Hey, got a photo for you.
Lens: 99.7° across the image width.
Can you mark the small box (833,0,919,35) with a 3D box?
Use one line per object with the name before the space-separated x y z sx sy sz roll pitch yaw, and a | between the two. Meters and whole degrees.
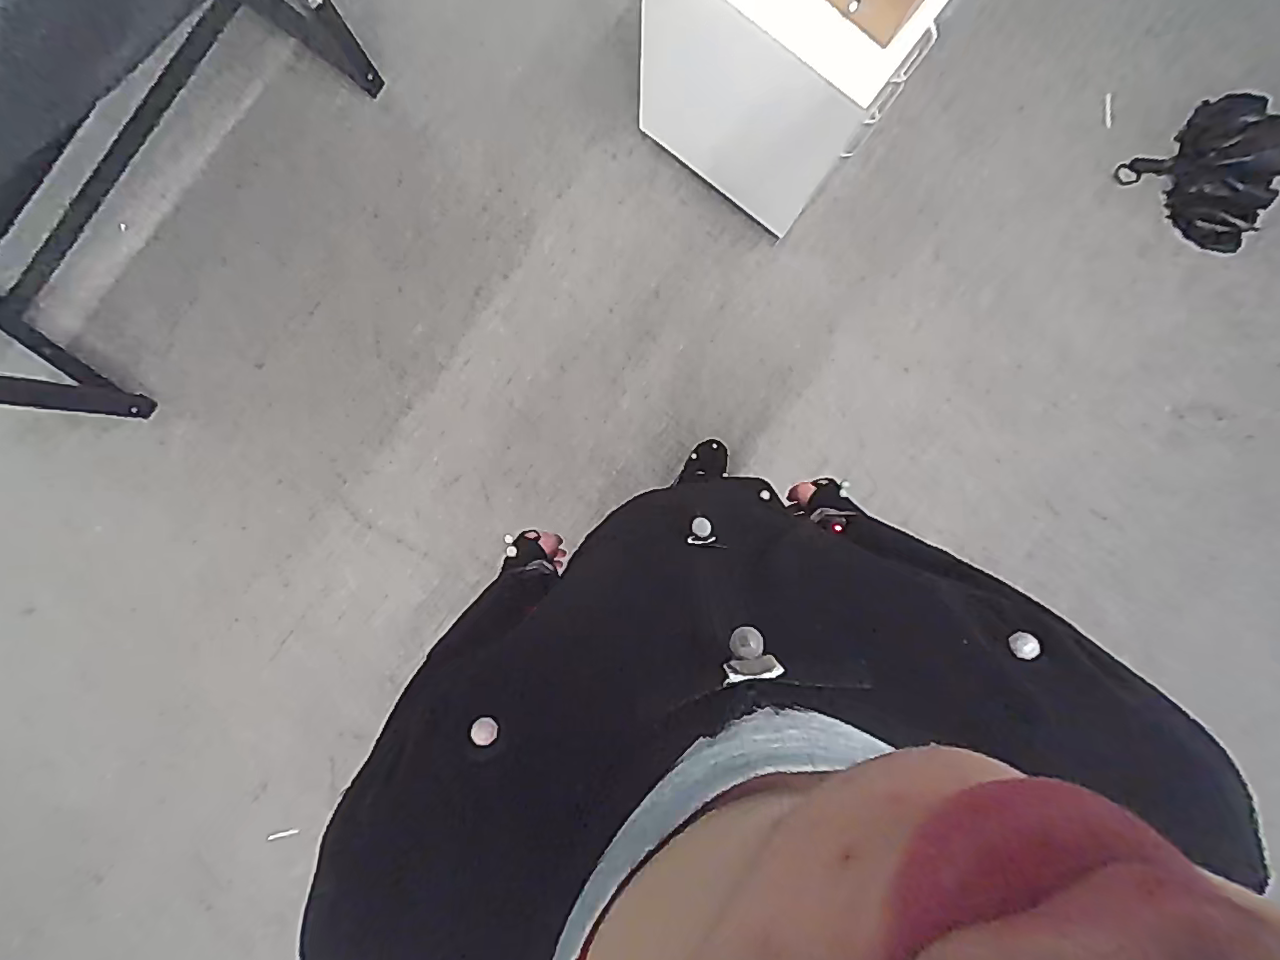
small box | 0.420 -0.884 0.877 0.179 0.176 0.168 39 90 -3
